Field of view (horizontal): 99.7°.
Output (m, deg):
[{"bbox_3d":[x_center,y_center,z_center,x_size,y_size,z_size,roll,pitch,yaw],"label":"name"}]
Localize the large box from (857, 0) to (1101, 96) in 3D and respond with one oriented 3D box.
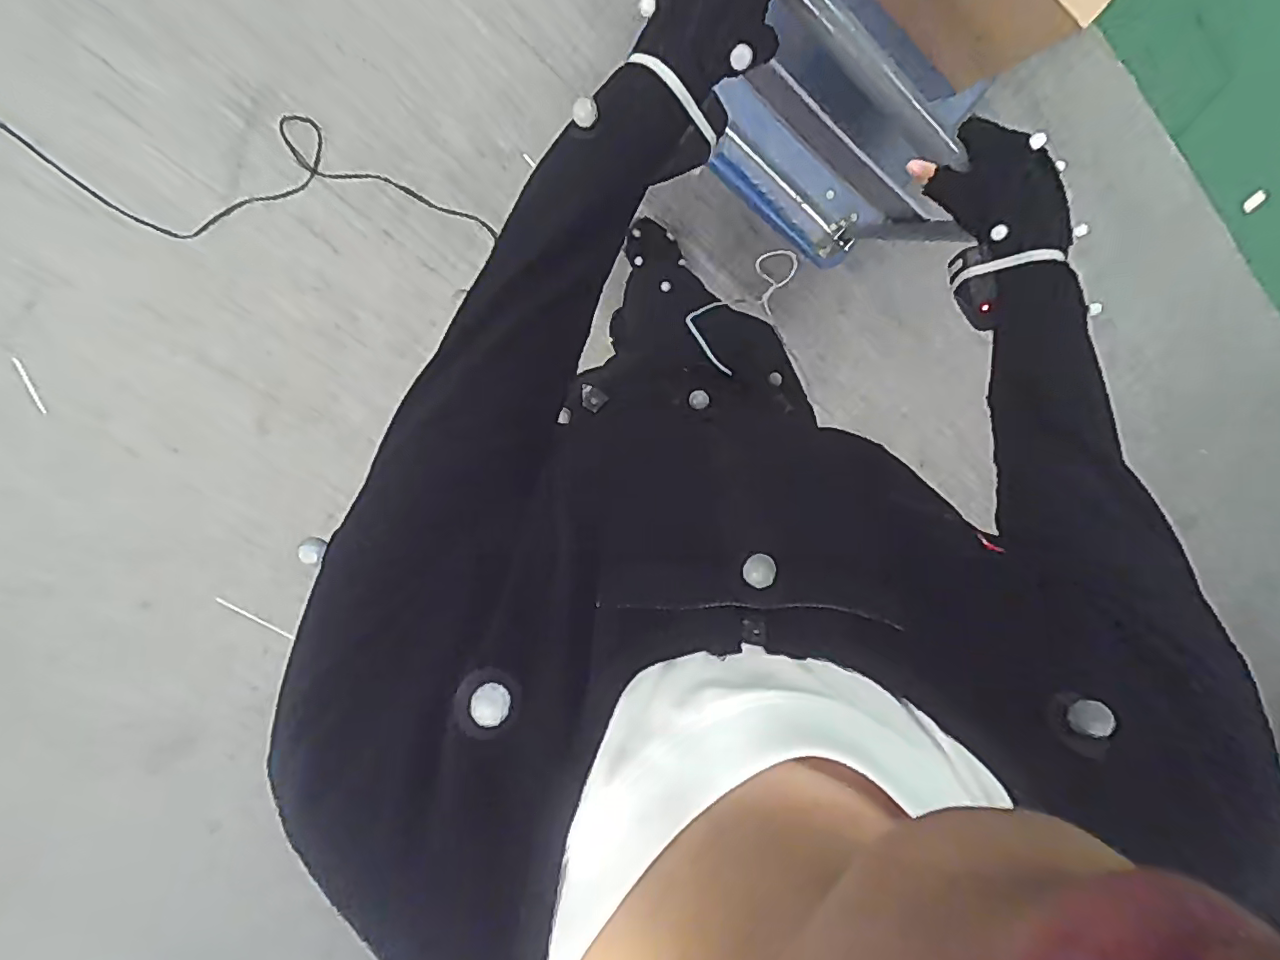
[{"bbox_3d":[0.541,-0.905,0.826,0.408,0.320,0.320,35,106,-13],"label":"large box"}]
